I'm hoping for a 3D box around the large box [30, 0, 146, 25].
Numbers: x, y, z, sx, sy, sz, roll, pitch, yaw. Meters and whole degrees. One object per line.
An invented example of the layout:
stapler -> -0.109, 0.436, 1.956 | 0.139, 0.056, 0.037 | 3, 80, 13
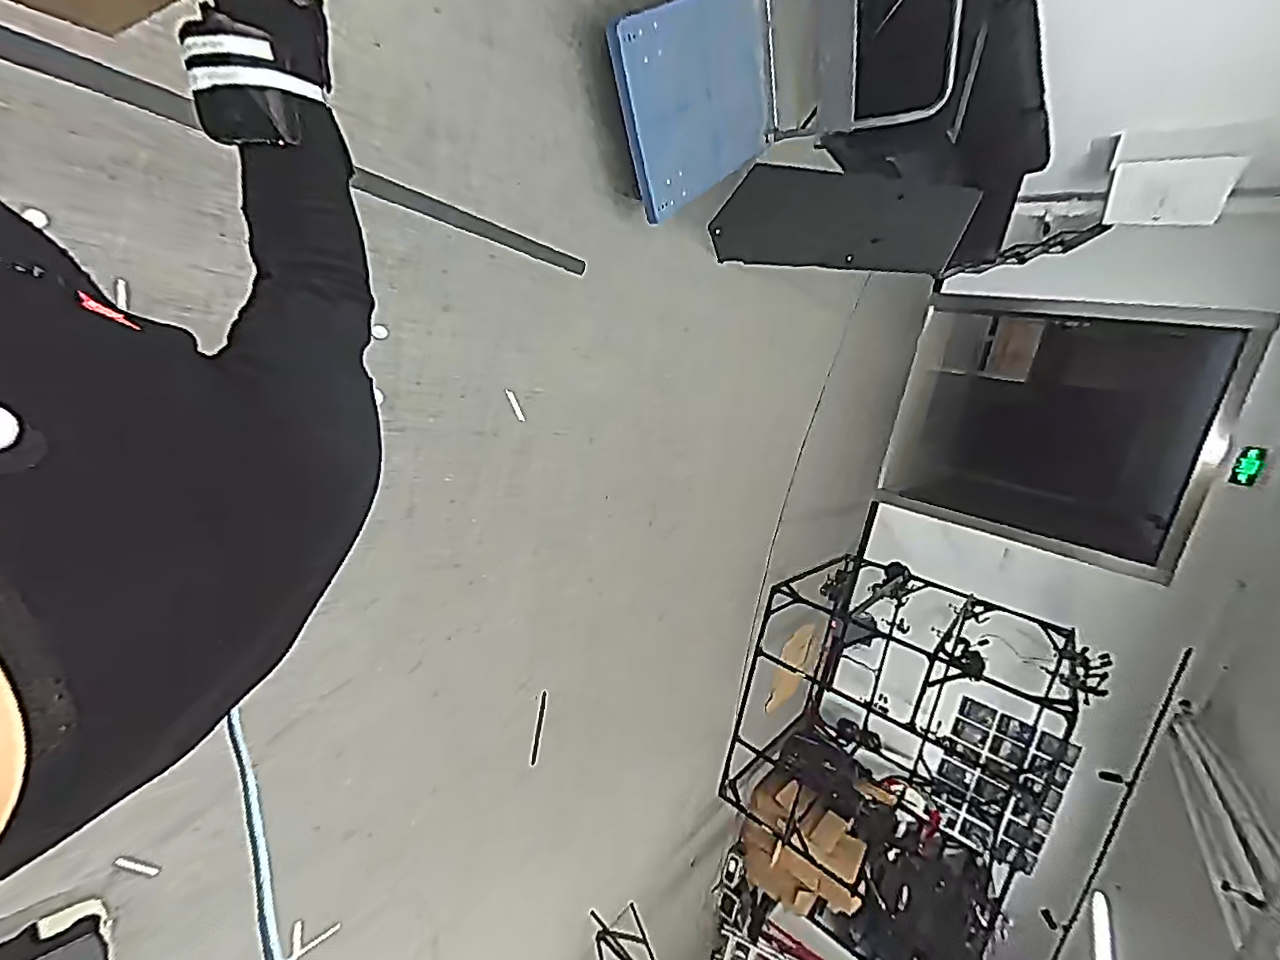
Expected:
large box -> -0.477, -0.486, 0.224 | 0.408, 0.320, 0.320 | -12, 119, -51
